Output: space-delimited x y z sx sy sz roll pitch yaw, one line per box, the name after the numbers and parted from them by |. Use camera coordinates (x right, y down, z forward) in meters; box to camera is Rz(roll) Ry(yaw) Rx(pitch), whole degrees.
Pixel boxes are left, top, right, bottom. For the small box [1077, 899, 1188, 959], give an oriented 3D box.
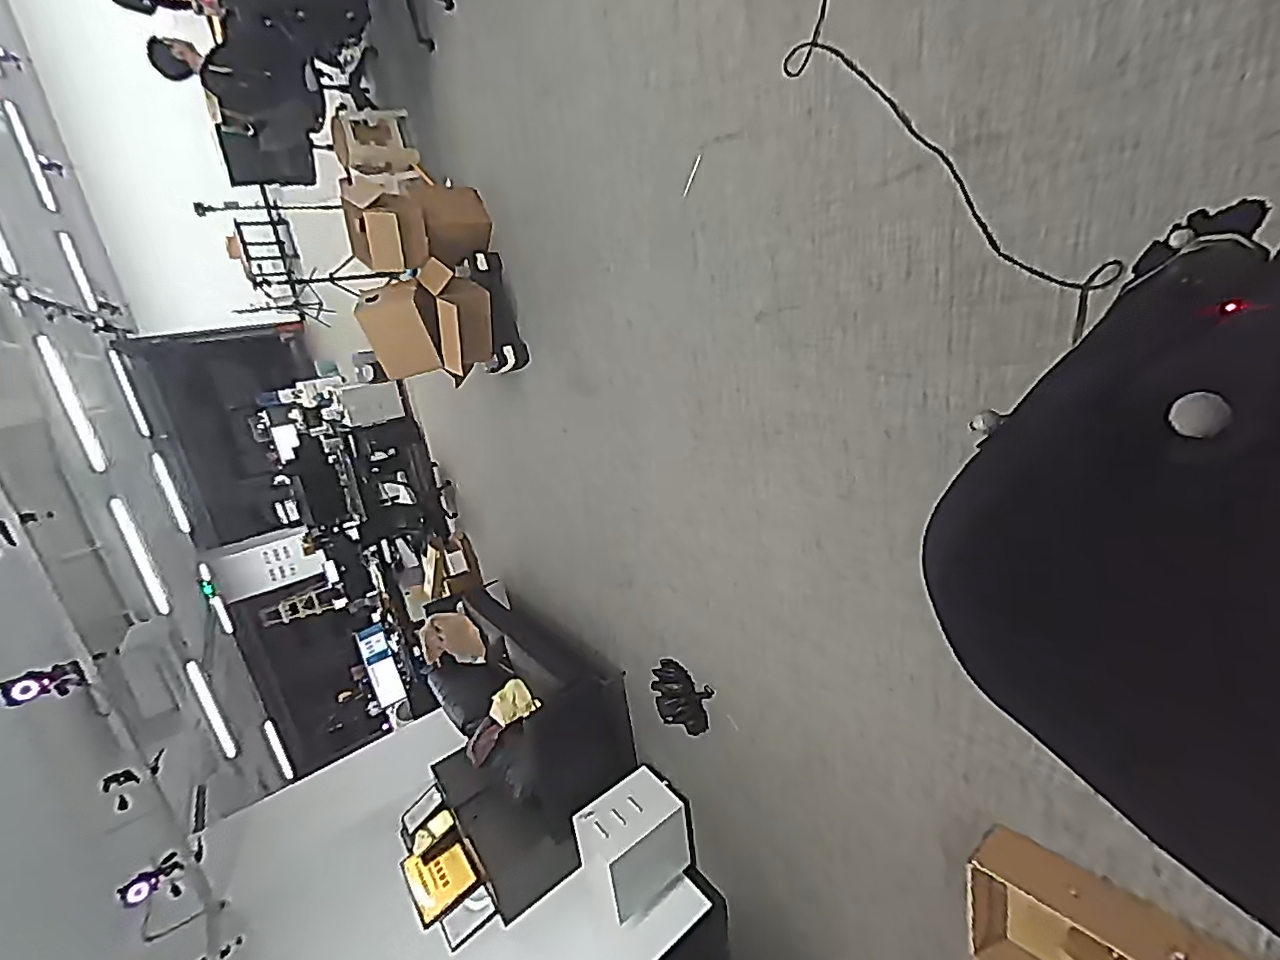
1.252 1.229 1.381 0.179 0.176 0.168 11 118 52 | small box
